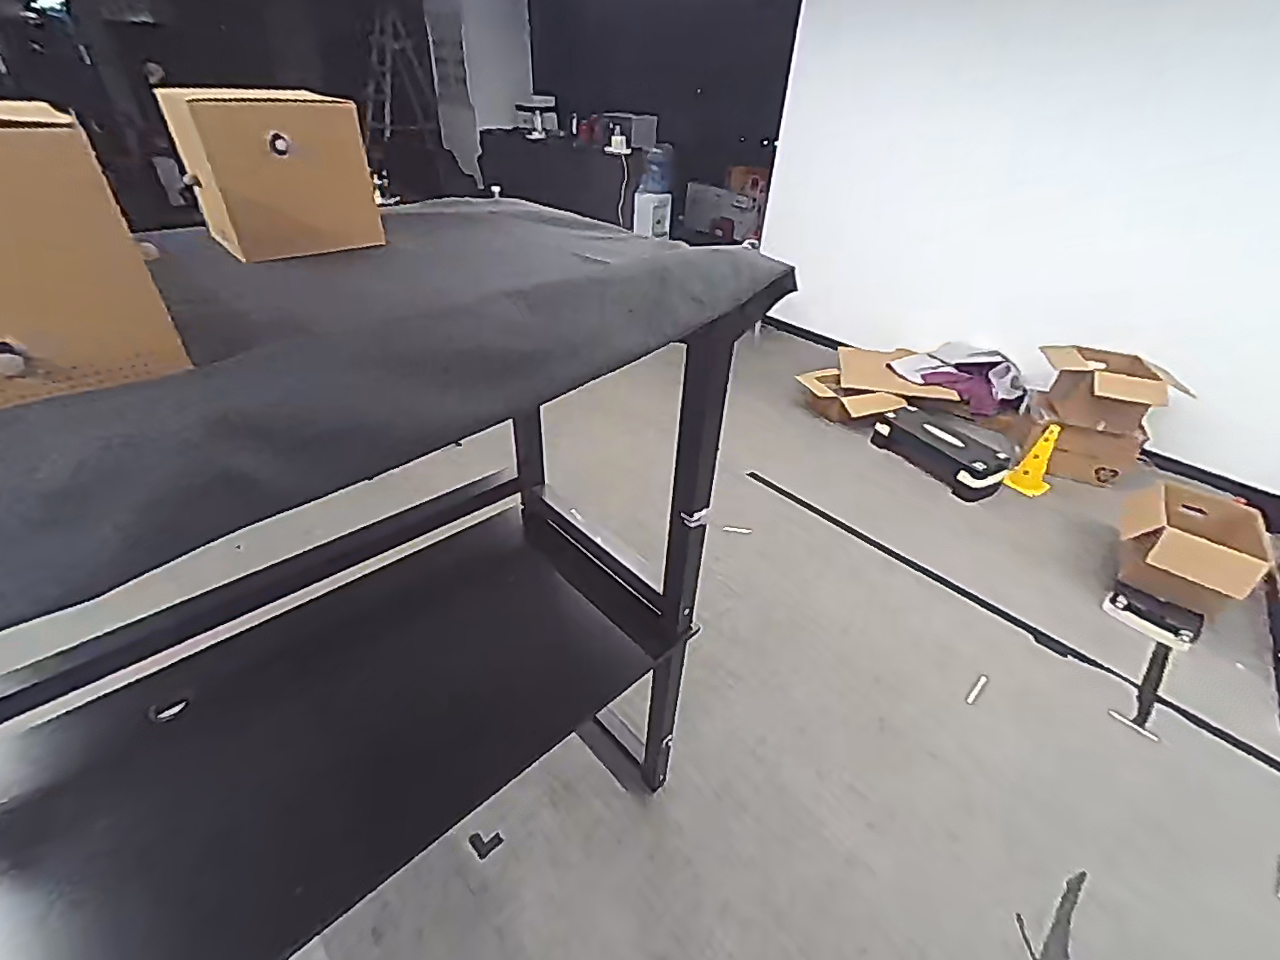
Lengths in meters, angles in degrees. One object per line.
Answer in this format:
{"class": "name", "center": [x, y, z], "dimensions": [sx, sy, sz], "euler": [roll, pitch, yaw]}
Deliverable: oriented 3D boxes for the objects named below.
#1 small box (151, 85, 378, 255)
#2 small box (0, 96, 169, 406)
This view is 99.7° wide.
{"class": "small box", "center": [-0.471, -0.400, 0.697], "dimensions": [0.179, 0.176, 0.168], "euler": [-28, 47, -35]}
{"class": "small box", "center": [-0.454, -0.150, 0.356], "dimensions": [0.179, 0.176, 0.168], "euler": [-28, 45, -36]}
